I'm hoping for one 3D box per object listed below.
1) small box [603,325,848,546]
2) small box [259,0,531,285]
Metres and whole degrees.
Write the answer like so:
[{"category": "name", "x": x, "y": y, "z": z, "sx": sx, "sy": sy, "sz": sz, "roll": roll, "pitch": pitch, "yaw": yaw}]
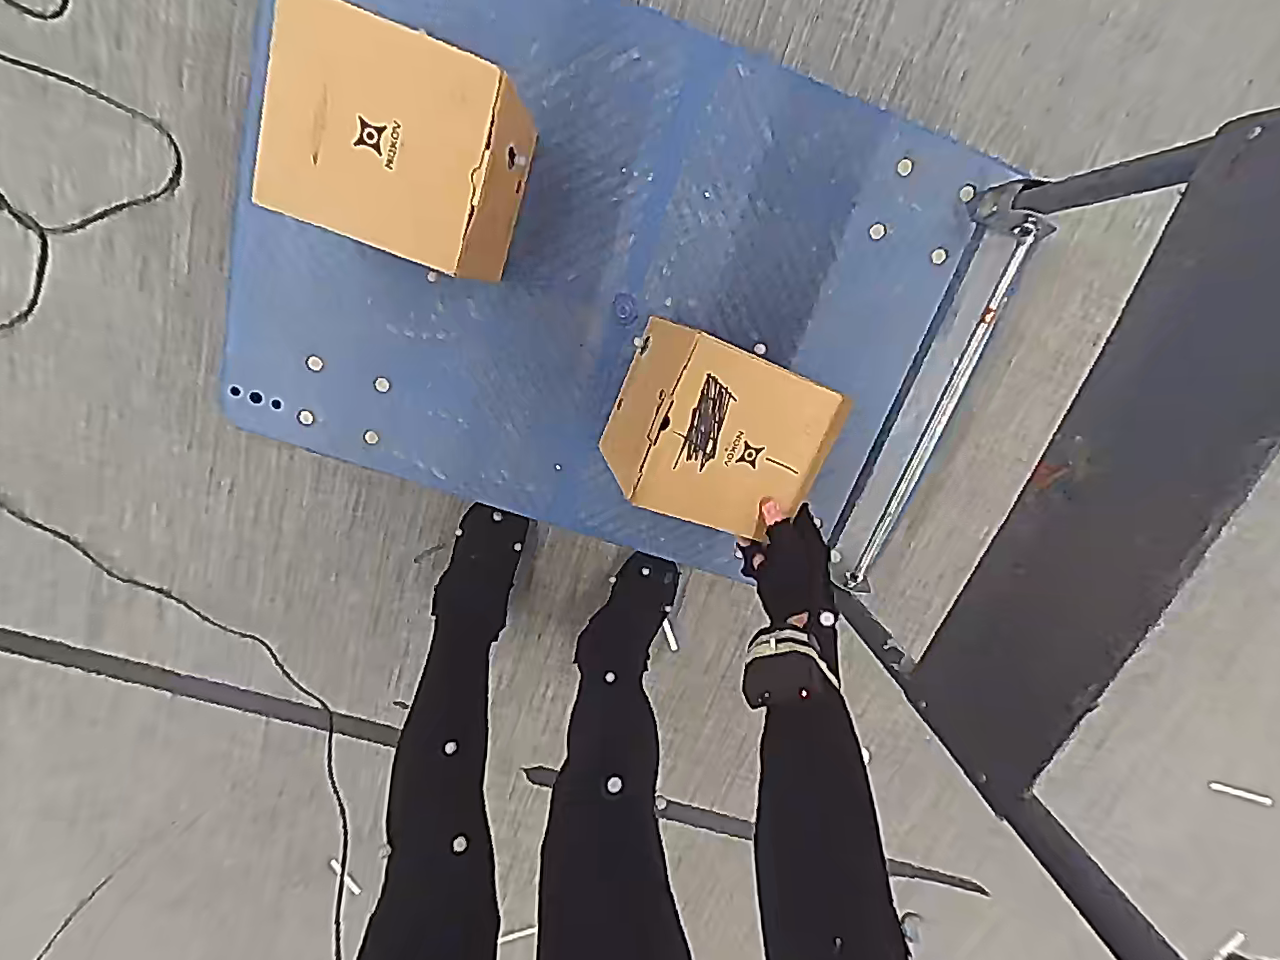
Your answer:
[{"category": "small box", "x": 0.075, "y": -0.056, "z": 0.584, "sx": 0.179, "sy": 0.176, "sz": 0.168, "roll": 19, "pitch": 106, "yaw": -22}, {"category": "small box", "x": -0.216, "y": -0.298, "z": 0.522, "sx": 0.179, "sy": 0.176, "sz": 0.168, "roll": 18, "pitch": 105, "yaw": -6}]
